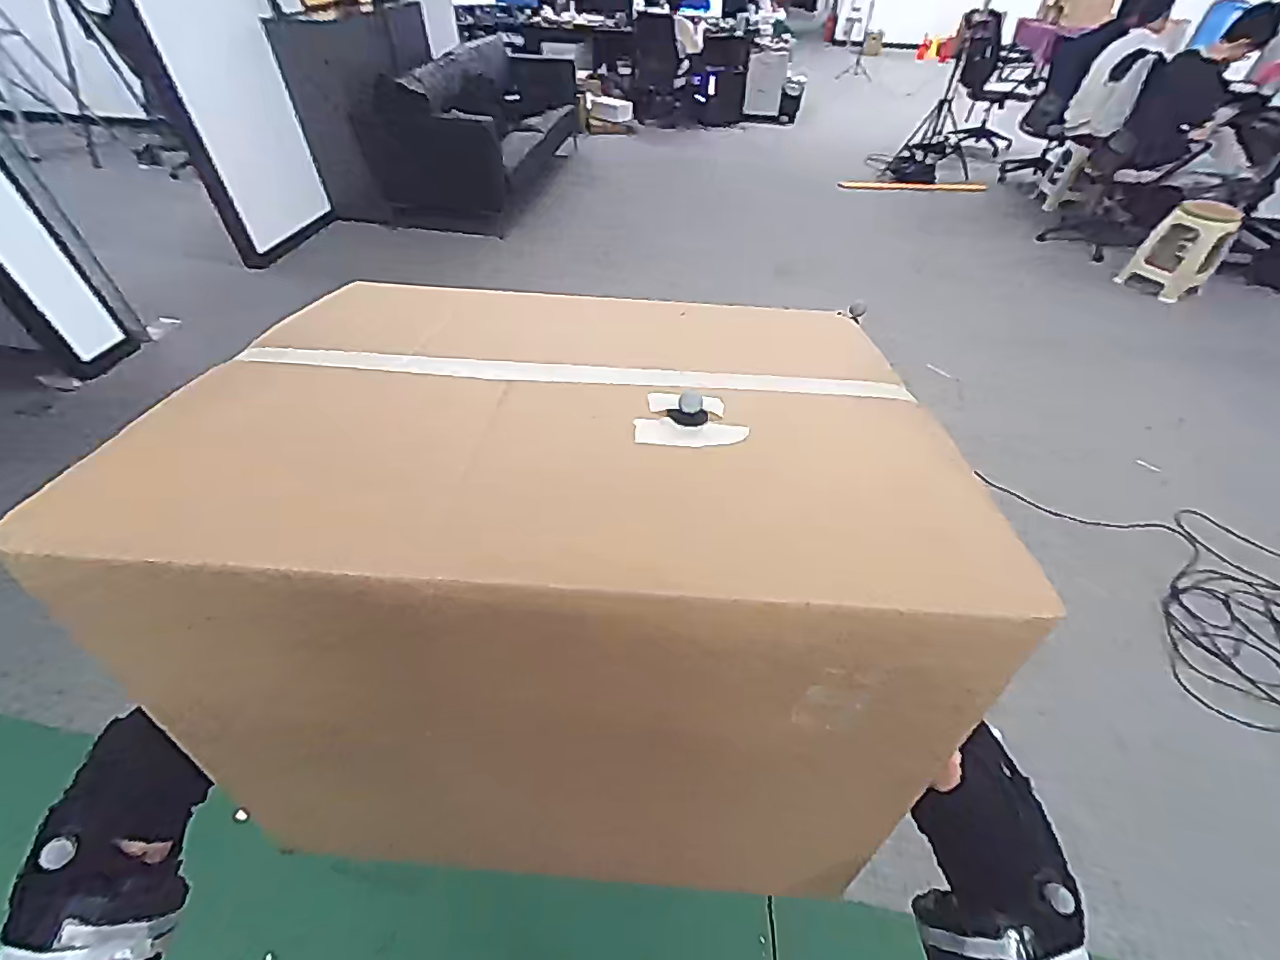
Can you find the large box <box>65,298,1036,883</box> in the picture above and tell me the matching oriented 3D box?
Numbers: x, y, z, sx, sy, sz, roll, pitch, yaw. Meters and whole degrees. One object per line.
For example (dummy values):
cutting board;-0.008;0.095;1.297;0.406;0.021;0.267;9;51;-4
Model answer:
large box;-0.039;0.070;0.423;0.408;0.320;0.320;5;37;1
